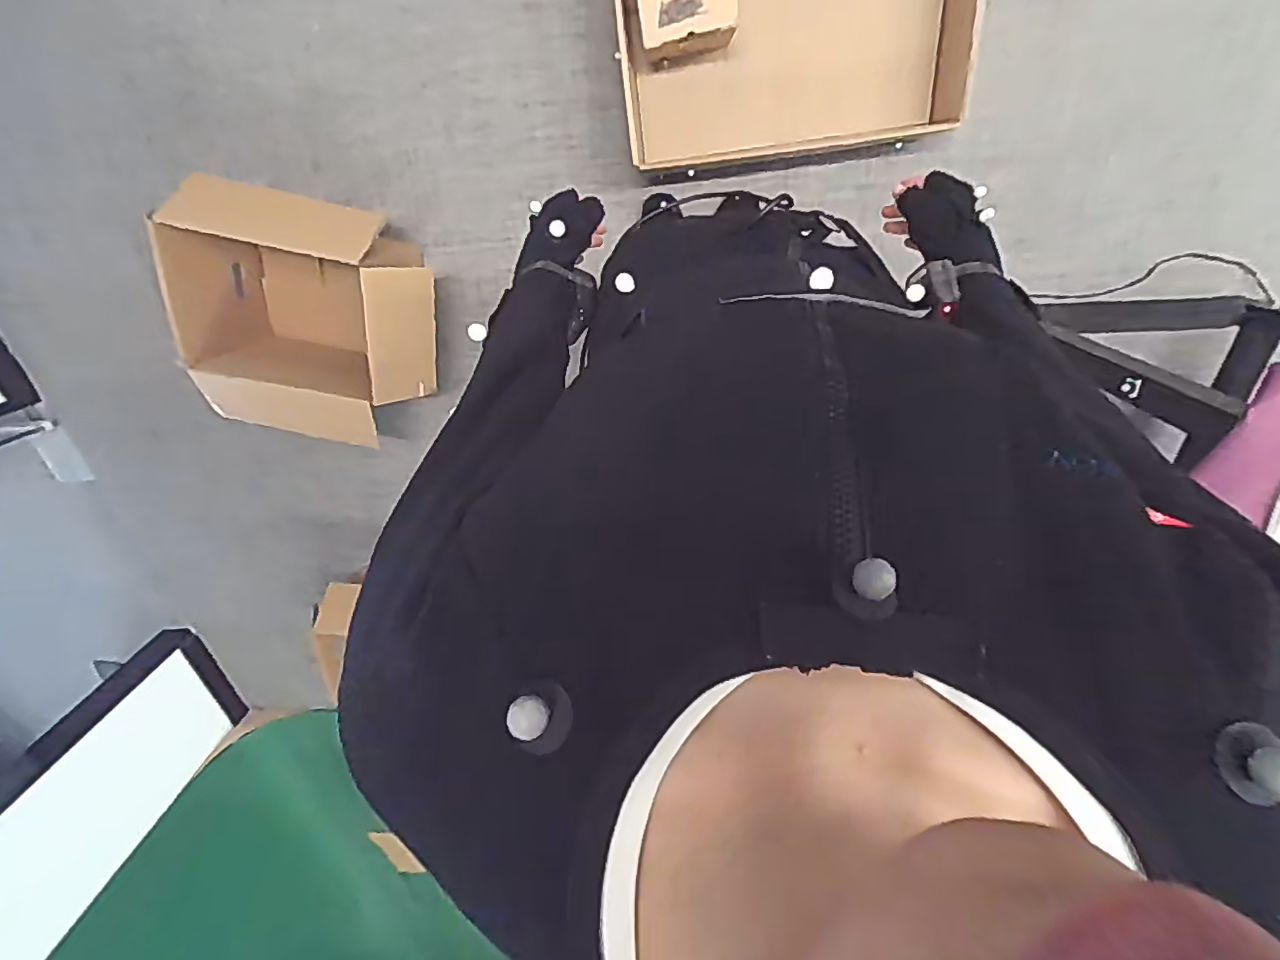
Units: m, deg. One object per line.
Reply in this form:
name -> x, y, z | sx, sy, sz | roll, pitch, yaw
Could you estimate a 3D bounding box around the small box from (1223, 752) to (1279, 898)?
small box -> 1.154, 0.589, 0.922 | 0.179, 0.176, 0.168 | 1, 119, 5
